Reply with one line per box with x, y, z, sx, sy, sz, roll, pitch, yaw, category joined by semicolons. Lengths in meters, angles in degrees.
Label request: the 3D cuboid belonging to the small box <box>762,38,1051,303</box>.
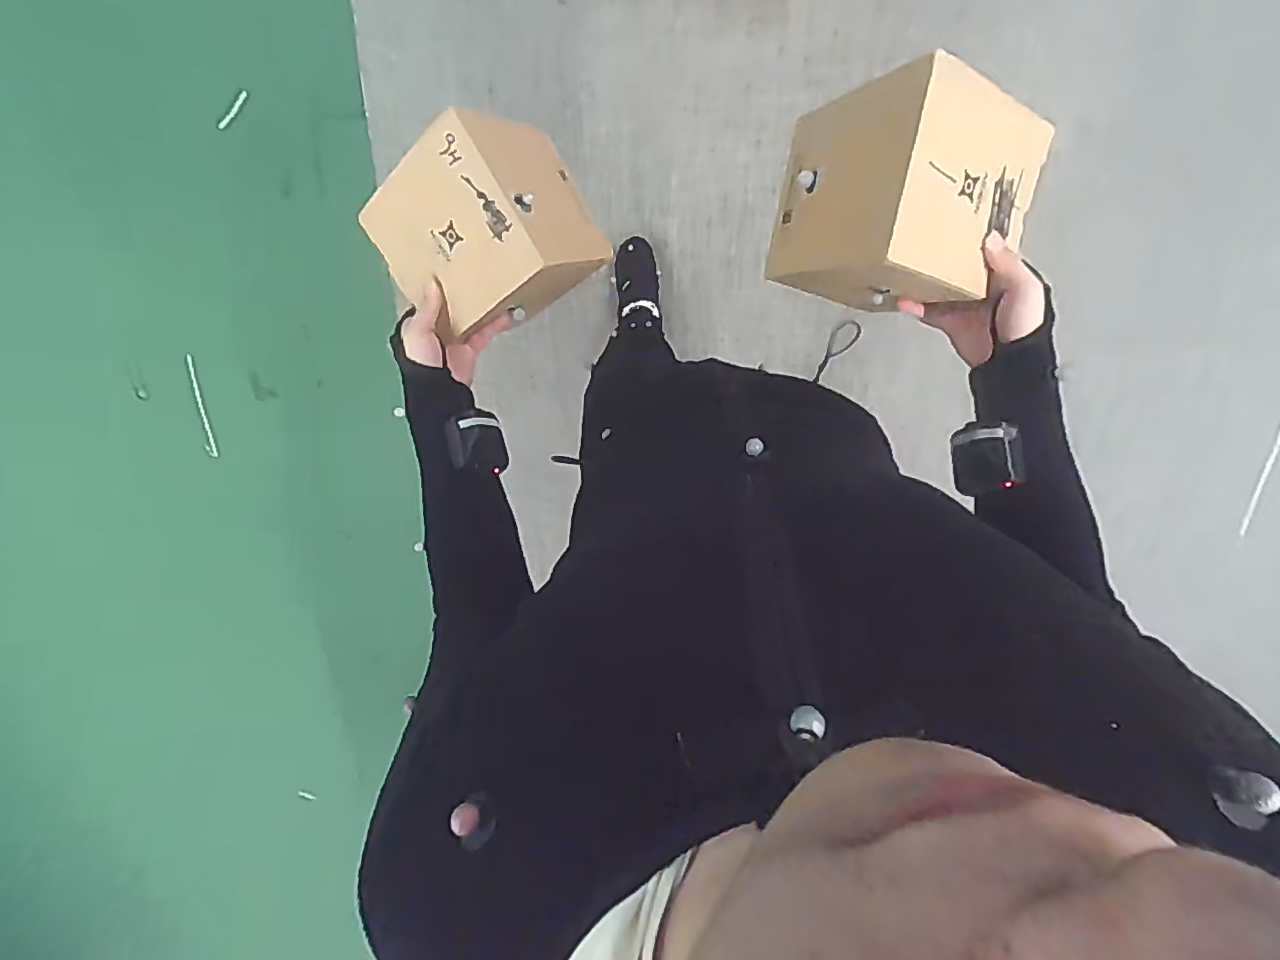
0.255;-0.281;0.545;0.179;0.176;0.168;6;100;-26;small box

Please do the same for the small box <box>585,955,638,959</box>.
-0.034;1.026;0.998;0.168;0.176;0.179;2;109;3;small box

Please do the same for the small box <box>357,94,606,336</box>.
-0.171;-0.289;0.621;0.179;0.176;0.168;-24;102;31;small box
